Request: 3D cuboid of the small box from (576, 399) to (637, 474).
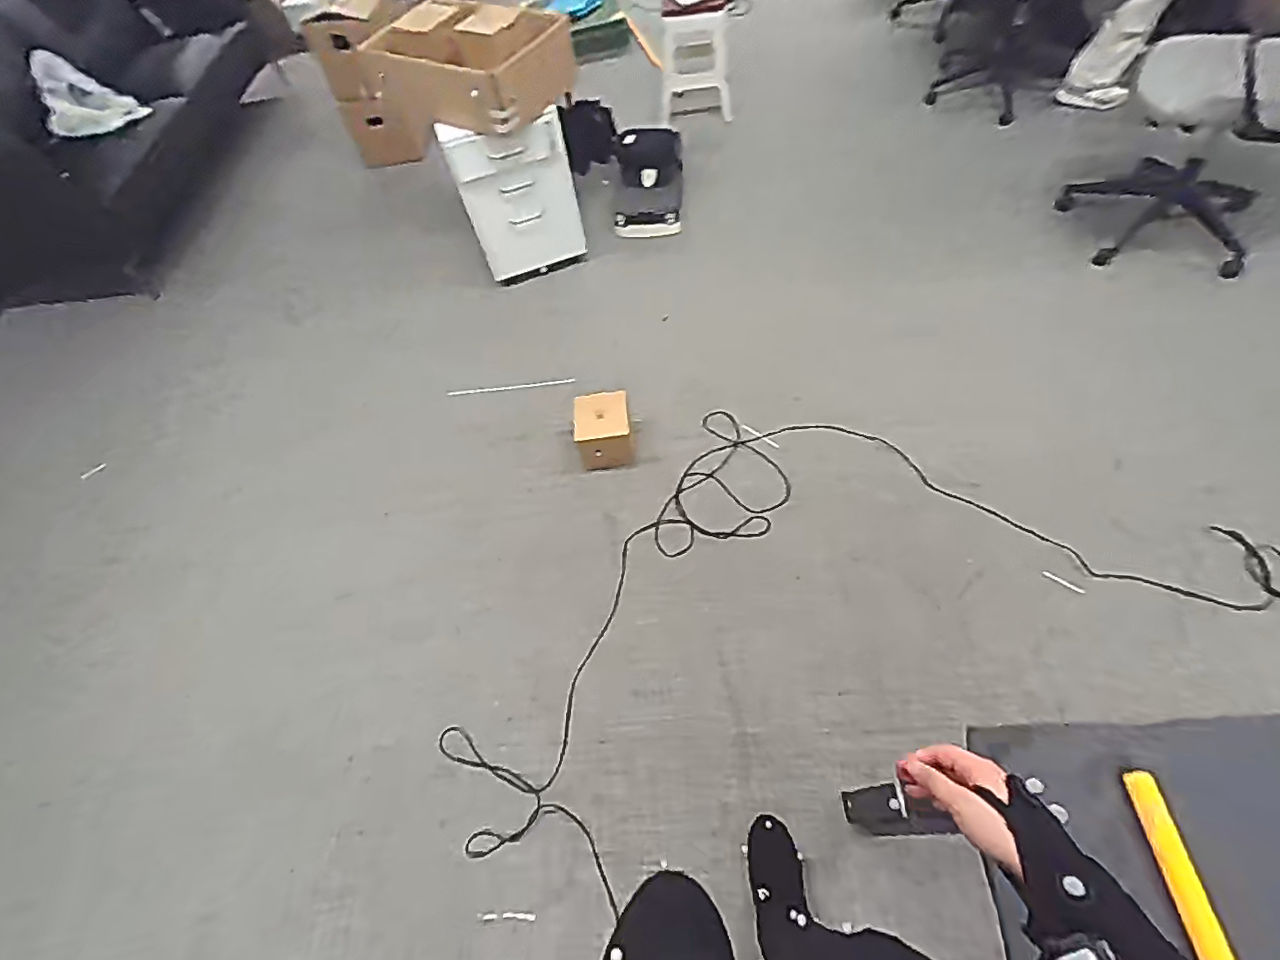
[{"bbox_3d":[-0.106,-0.132,1.729,0.168,0.176,0.179,-8,57,4],"label":"small box"}]
